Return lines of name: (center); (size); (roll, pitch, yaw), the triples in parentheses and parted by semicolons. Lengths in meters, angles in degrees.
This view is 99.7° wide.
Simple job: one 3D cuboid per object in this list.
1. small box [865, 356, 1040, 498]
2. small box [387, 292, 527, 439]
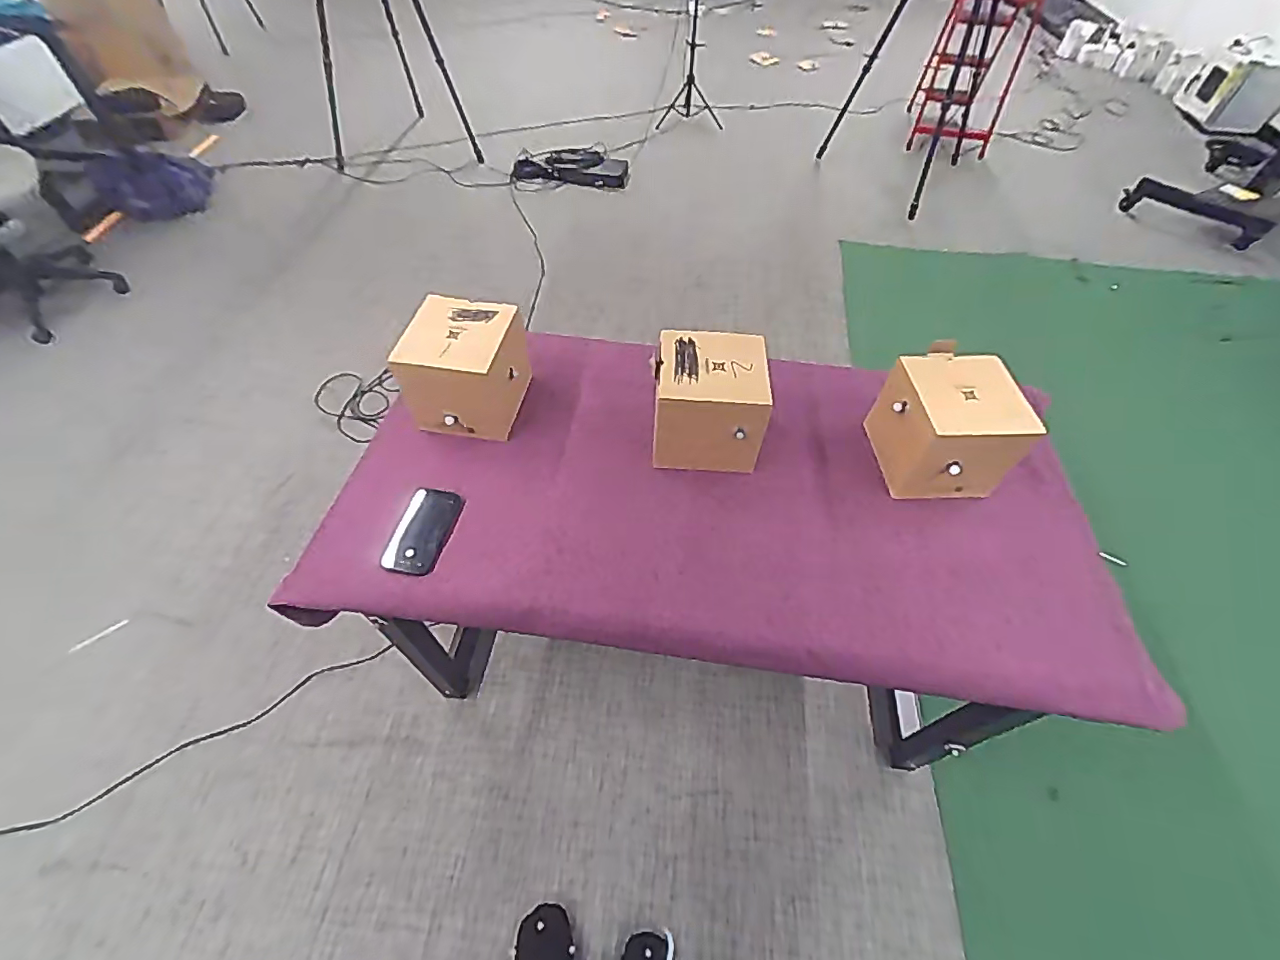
small box: (0.499, -0.082, 0.895); (0.168, 0.176, 0.179); (-1, 53, -2)
small box: (-0.305, -0.198, 0.950); (0.168, 0.176, 0.179); (9, 55, 4)
